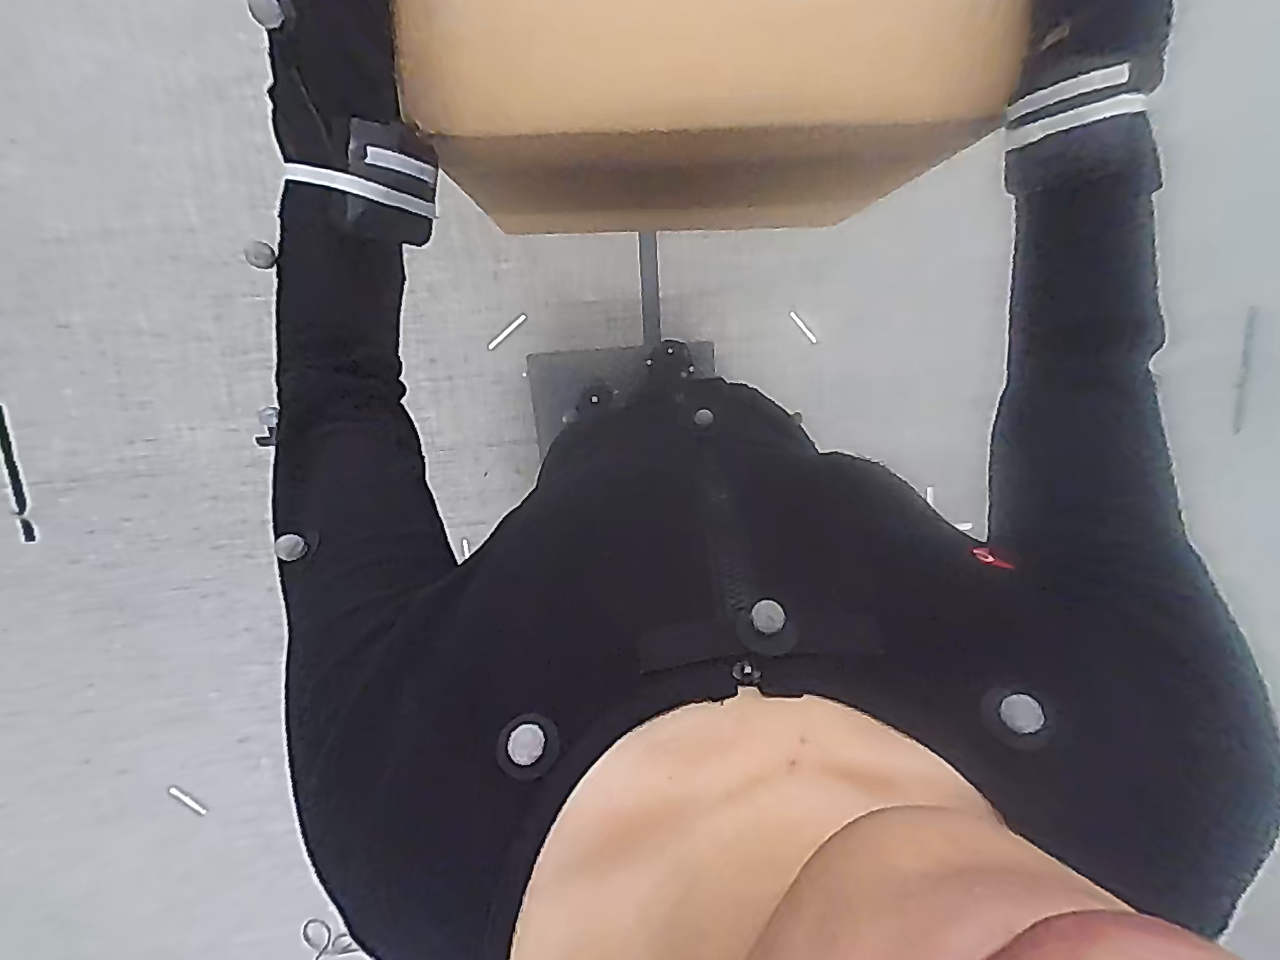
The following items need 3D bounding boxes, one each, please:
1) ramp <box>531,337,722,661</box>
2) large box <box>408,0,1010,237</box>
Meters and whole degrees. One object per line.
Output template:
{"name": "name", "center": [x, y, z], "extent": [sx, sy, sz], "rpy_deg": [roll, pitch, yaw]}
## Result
{"name": "ramp", "center": [-0.005, 0.104, 1.586], "extent": [0.509, 0.206, 0.991], "rpy_deg": [-7, 102, -2]}
{"name": "large box", "center": [0.037, -0.422, 0.481], "extent": [0.408, 0.320, 0.320], "rpy_deg": [-3, 103, -2]}
